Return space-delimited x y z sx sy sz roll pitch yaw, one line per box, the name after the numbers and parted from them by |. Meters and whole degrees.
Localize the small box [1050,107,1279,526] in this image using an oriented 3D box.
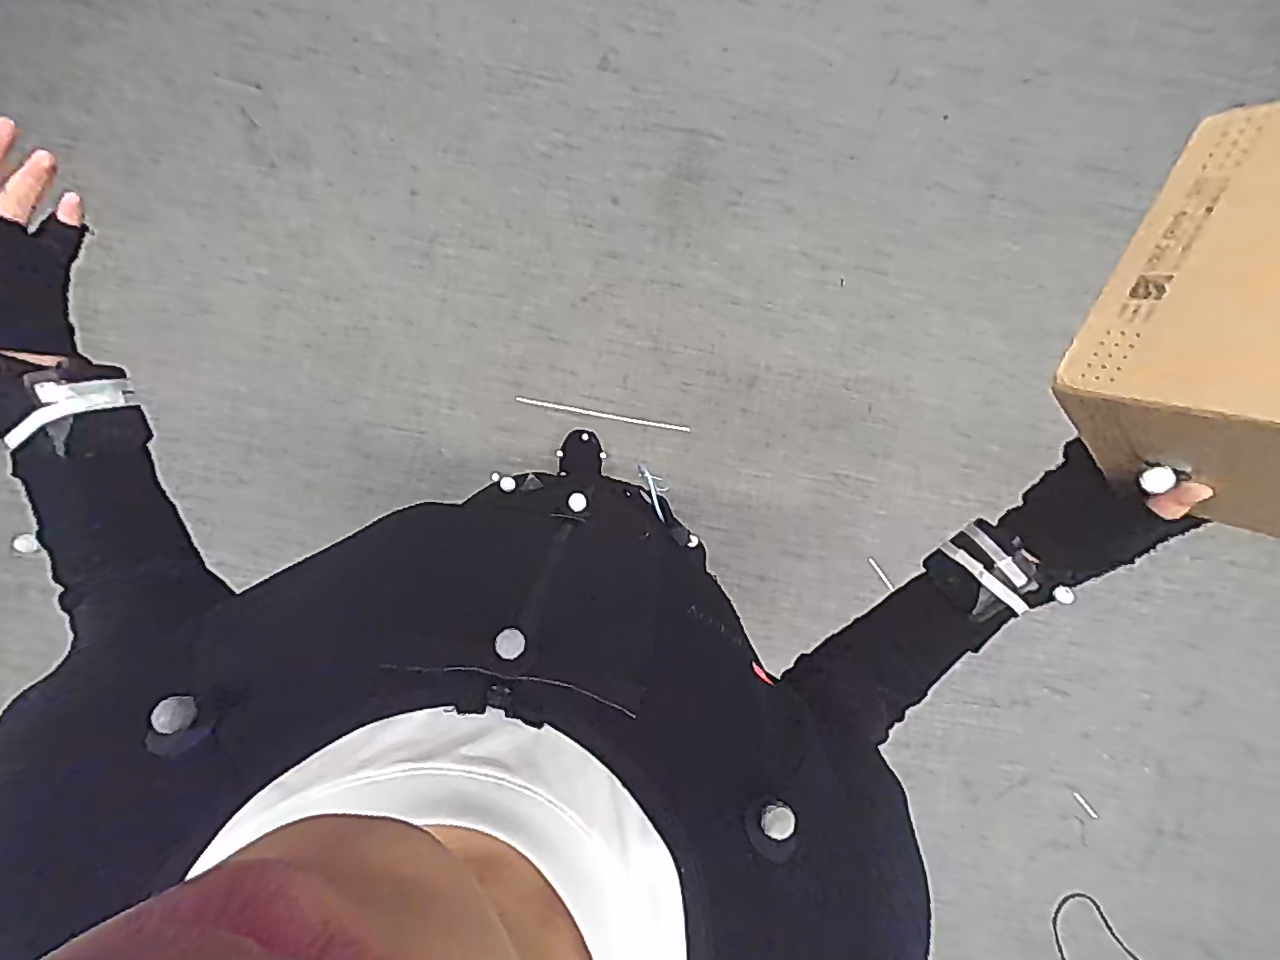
0.359 -0.074 0.277 0.179 0.176 0.168 25 95 -37 | small box
